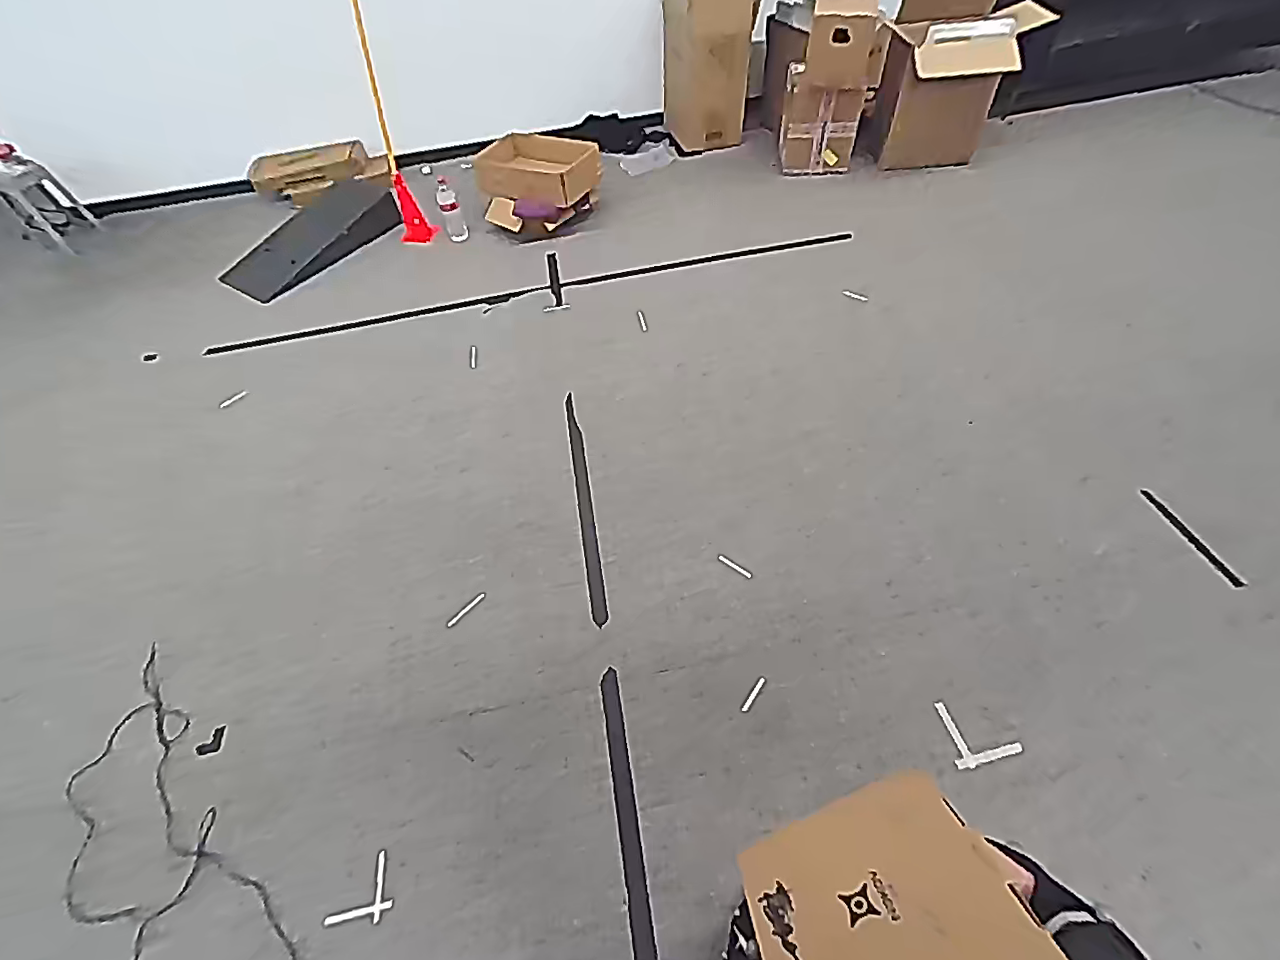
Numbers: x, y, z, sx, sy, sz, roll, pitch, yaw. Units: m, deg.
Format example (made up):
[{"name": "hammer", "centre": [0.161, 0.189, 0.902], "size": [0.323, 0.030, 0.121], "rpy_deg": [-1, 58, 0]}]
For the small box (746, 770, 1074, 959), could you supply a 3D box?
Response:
[{"name": "small box", "centre": [0.208, 0.373, 0.407], "size": [0.179, 0.176, 0.168], "rpy_deg": [-26, 11, 3]}]
